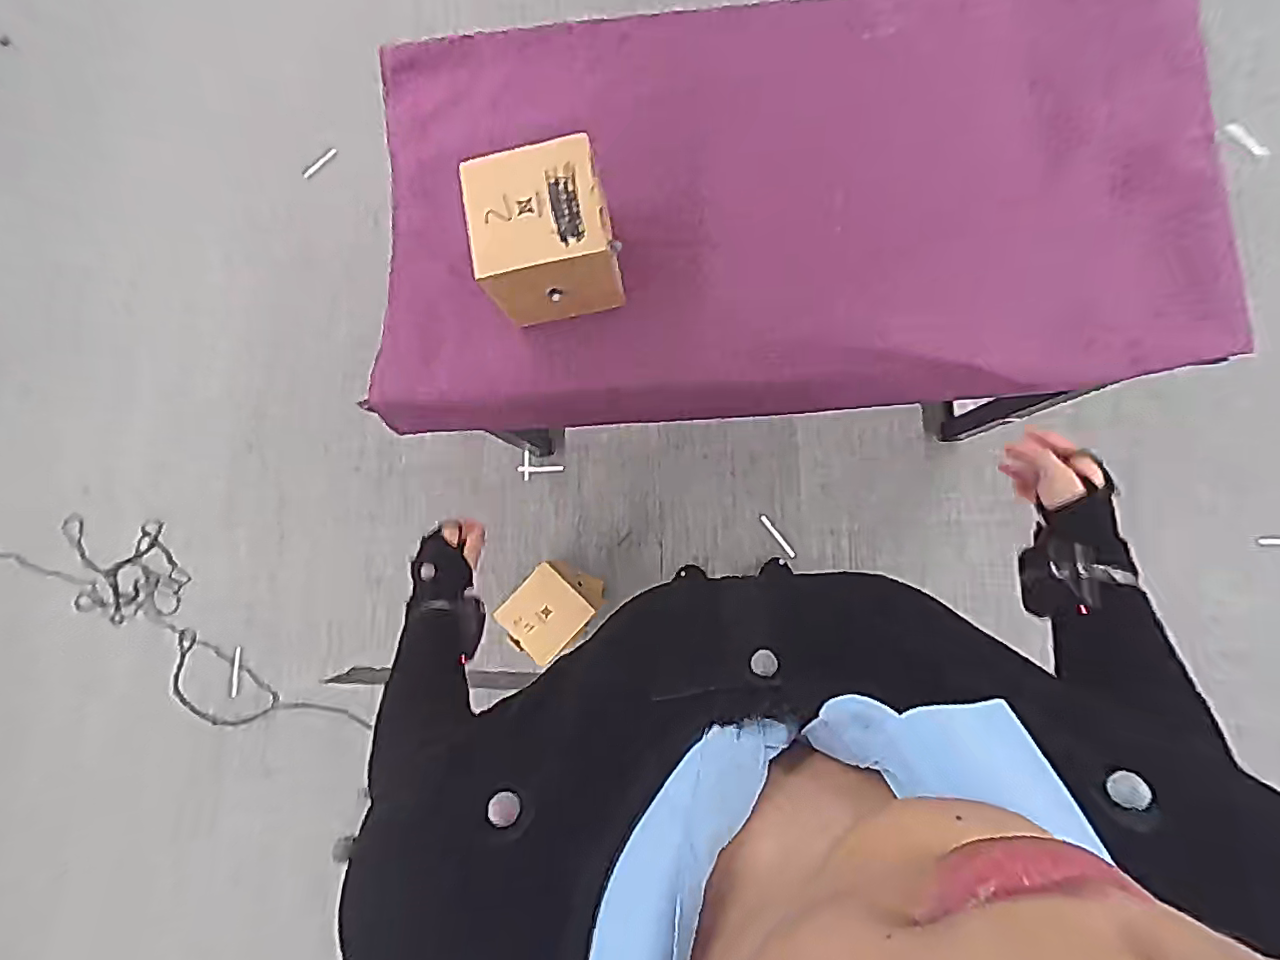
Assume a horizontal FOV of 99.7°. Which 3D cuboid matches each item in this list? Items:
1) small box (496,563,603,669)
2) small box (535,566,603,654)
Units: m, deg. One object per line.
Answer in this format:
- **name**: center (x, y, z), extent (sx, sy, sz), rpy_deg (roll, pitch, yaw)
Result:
- **small box**: center (-0.202, 0.310, 1.283), extent (0.168, 0.176, 0.179), rpy_deg (43, 89, 9)
- **small box**: center (-0.209, 0.338, 1.447), extent (0.168, 0.176, 0.179), rpy_deg (21, 86, 7)
